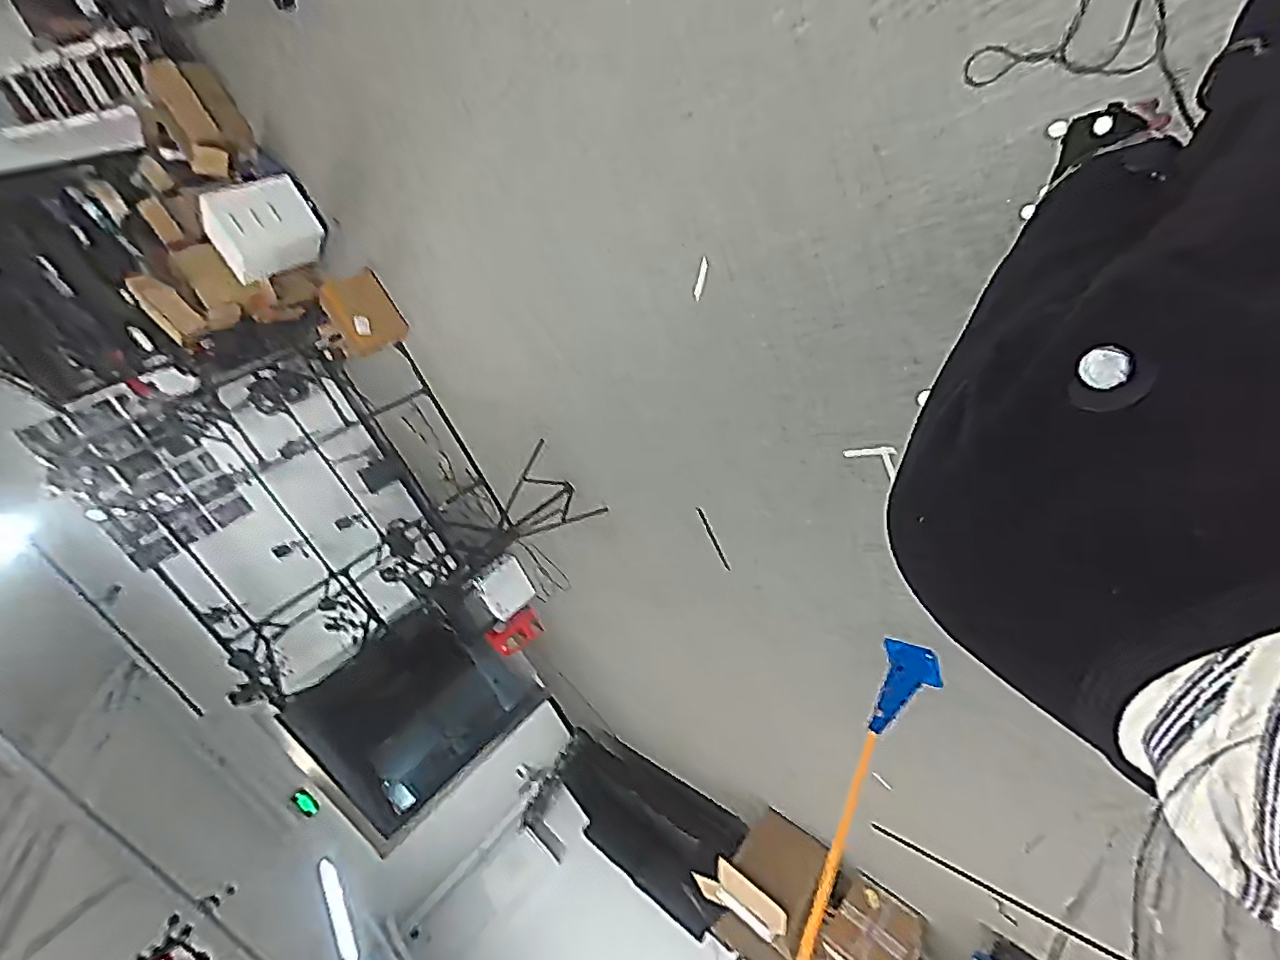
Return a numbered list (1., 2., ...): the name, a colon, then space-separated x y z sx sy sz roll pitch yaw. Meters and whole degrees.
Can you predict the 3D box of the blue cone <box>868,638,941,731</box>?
1. blue cone: 0.954 0.789 2.018 0.193 0.380 0.192 5 126 51
